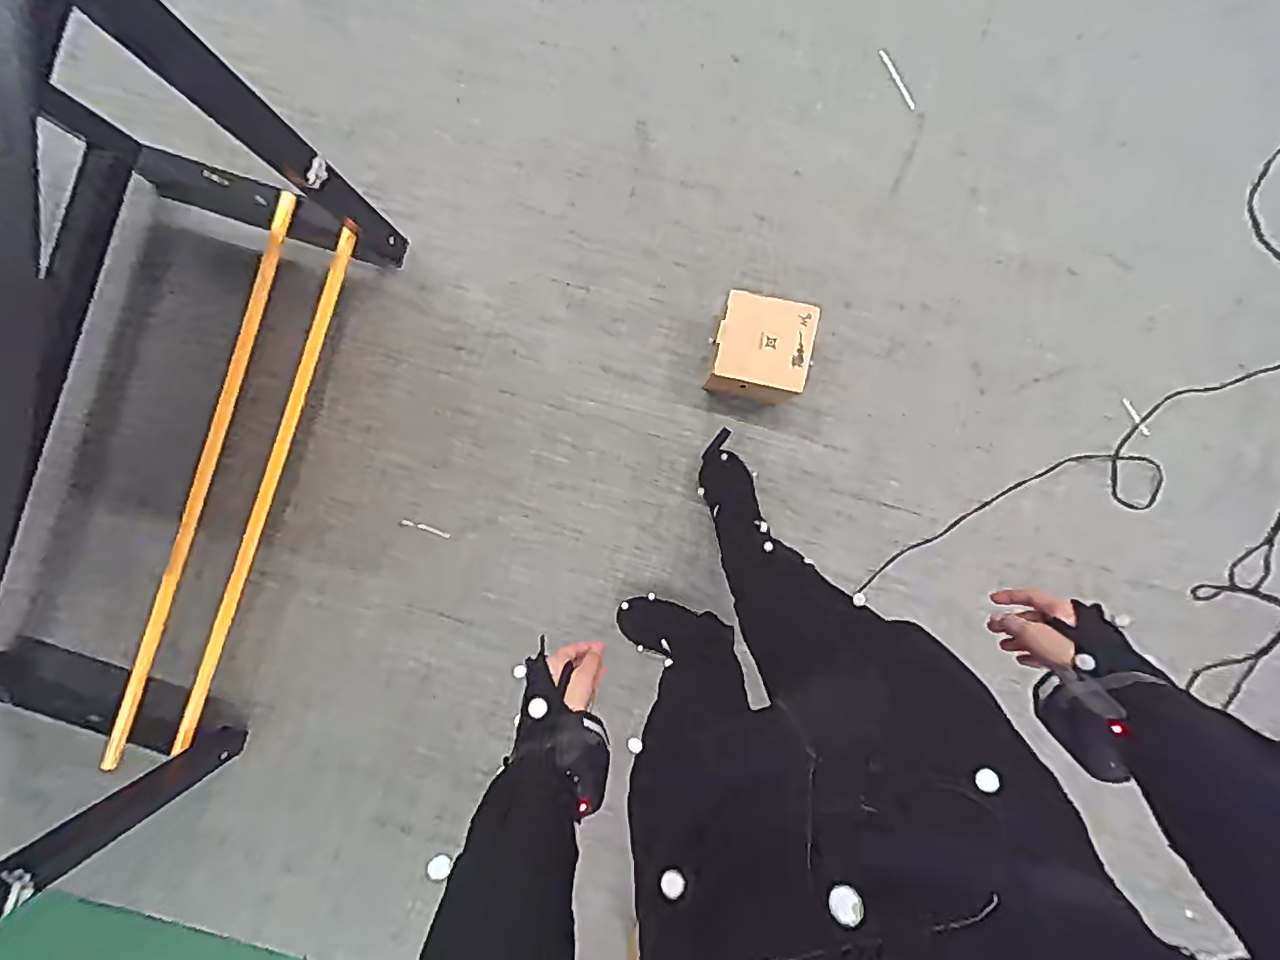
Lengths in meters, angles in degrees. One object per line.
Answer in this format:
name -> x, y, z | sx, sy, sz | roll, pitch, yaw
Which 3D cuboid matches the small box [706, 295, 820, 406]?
small box -> 0.238, -0.252, 1.093 | 0.179, 0.176, 0.168 | 12, 90, 1
